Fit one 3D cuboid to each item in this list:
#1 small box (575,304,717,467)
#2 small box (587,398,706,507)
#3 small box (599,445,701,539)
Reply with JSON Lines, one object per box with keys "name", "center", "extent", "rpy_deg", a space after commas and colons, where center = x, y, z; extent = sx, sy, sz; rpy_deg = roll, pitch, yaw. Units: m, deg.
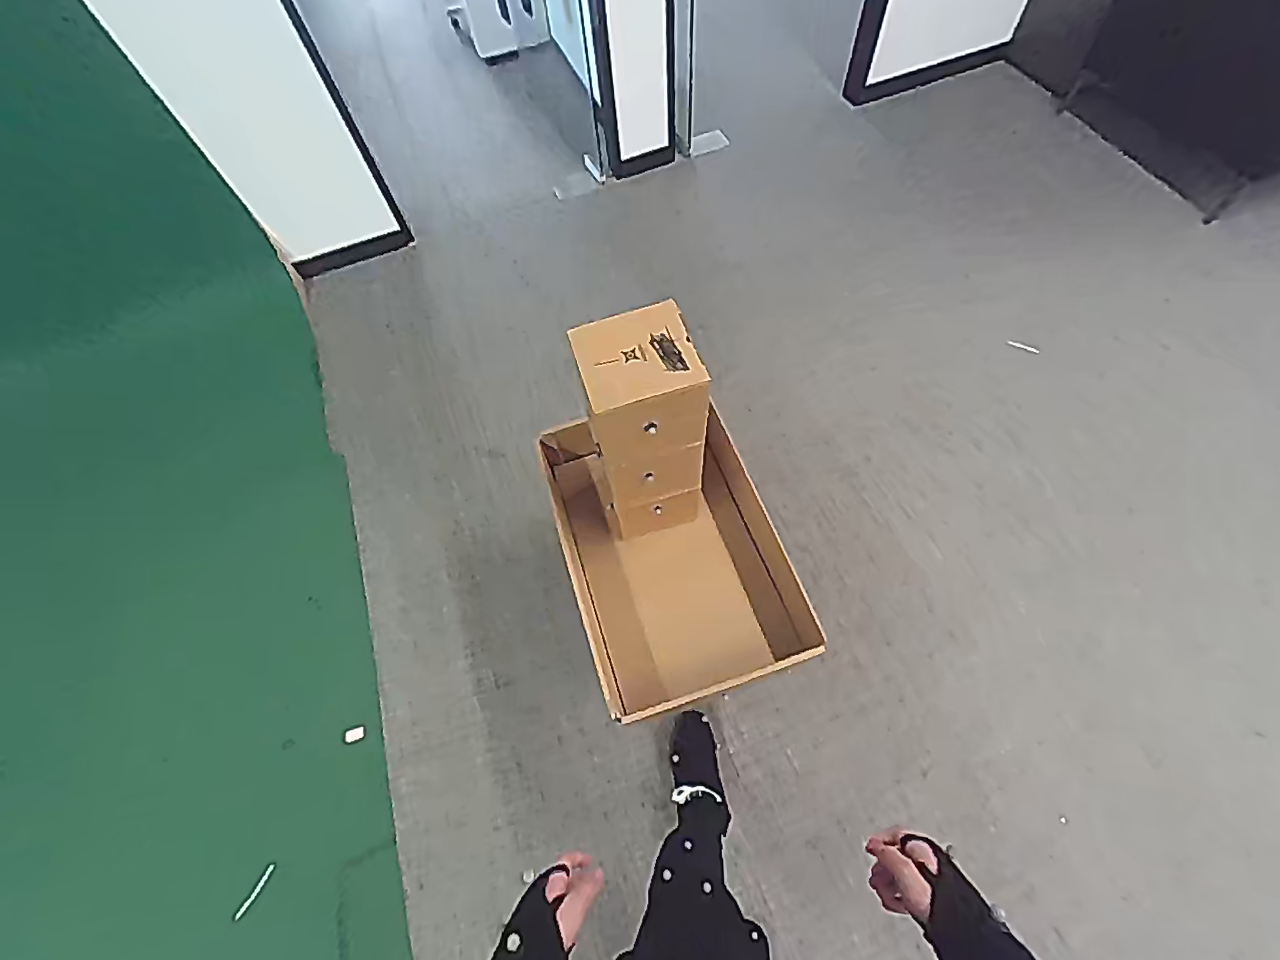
{"name": "small box", "center": [0.008, -0.145, 0.862], "extent": [0.179, 0.176, 0.168], "rpy_deg": [-17, 64, -5]}
{"name": "small box", "center": [0.014, -0.069, 1.009], "extent": [0.179, 0.176, 0.168], "rpy_deg": [-16, 64, -4]}
{"name": "small box", "center": [0.021, 0.009, 1.153], "extent": [0.179, 0.176, 0.168], "rpy_deg": [-14, 63, -5]}
